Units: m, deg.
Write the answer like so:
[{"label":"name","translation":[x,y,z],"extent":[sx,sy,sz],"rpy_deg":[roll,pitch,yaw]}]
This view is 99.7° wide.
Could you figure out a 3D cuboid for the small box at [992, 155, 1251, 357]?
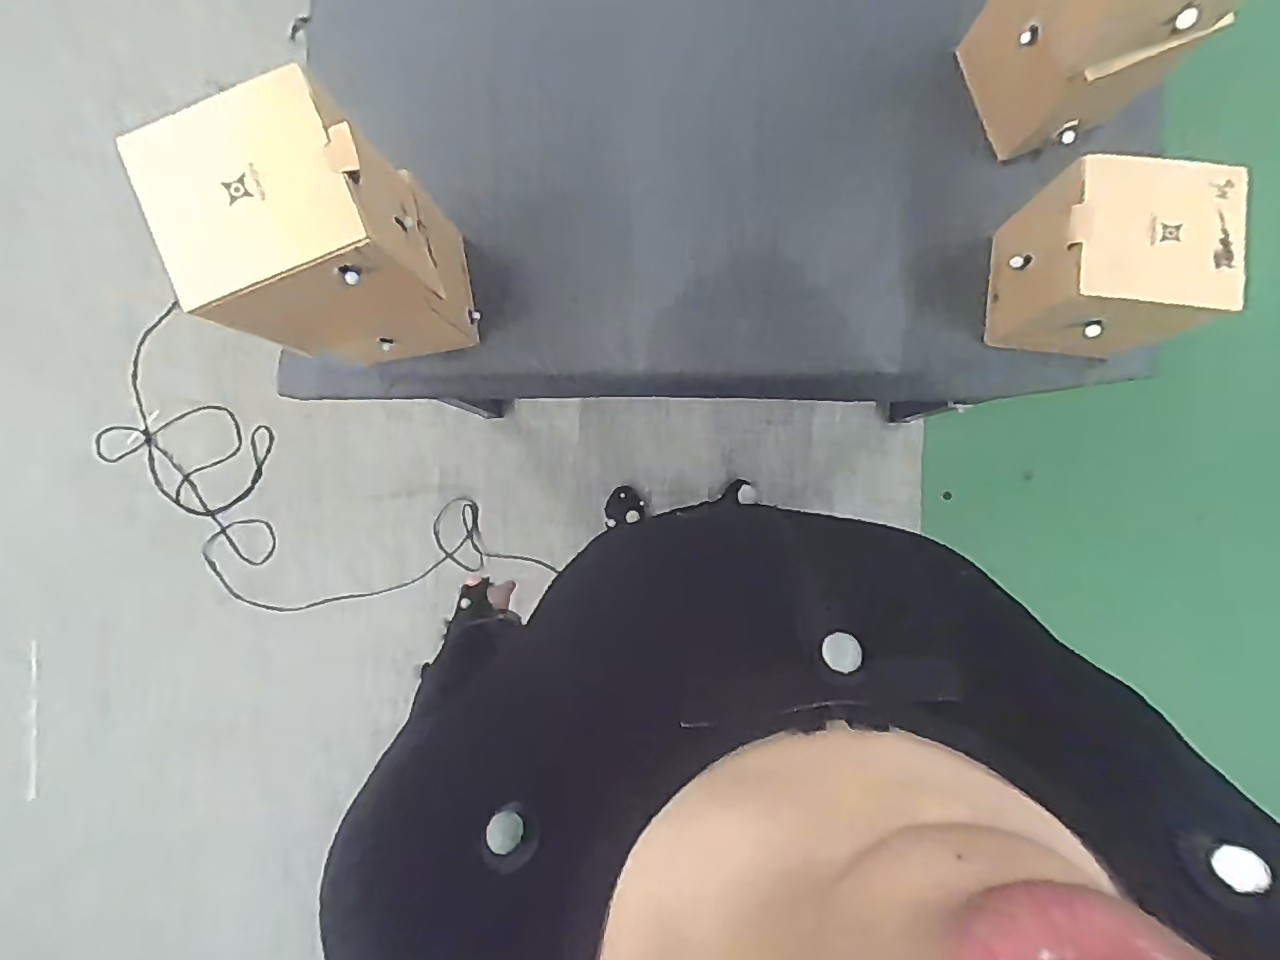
[{"label":"small box","translation":[0.566,-0.260,0.660],"extent":[0.179,0.176,0.168],"rpy_deg":[7,86,4]}]

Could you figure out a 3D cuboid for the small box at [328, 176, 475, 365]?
[{"label":"small box","translation":[-0.330,-0.258,0.704],"extent":[0.179,0.176,0.168],"rpy_deg":[-10,90,3]}]

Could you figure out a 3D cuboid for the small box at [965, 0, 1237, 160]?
[{"label":"small box","translation":[0.544,-0.548,0.669],"extent":[0.168,0.176,0.179],"rpy_deg":[-21,90,5]}]

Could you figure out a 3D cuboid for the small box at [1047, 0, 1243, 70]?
[{"label":"small box","translation":[0.512,-0.548,0.506],"extent":[0.168,0.176,0.179],"rpy_deg":[-17,89,6]}]

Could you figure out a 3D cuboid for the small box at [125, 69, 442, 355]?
[{"label":"small box","translation":[-0.334,-0.244,0.542],"extent":[0.179,0.176,0.168],"rpy_deg":[-22,89,2]}]
